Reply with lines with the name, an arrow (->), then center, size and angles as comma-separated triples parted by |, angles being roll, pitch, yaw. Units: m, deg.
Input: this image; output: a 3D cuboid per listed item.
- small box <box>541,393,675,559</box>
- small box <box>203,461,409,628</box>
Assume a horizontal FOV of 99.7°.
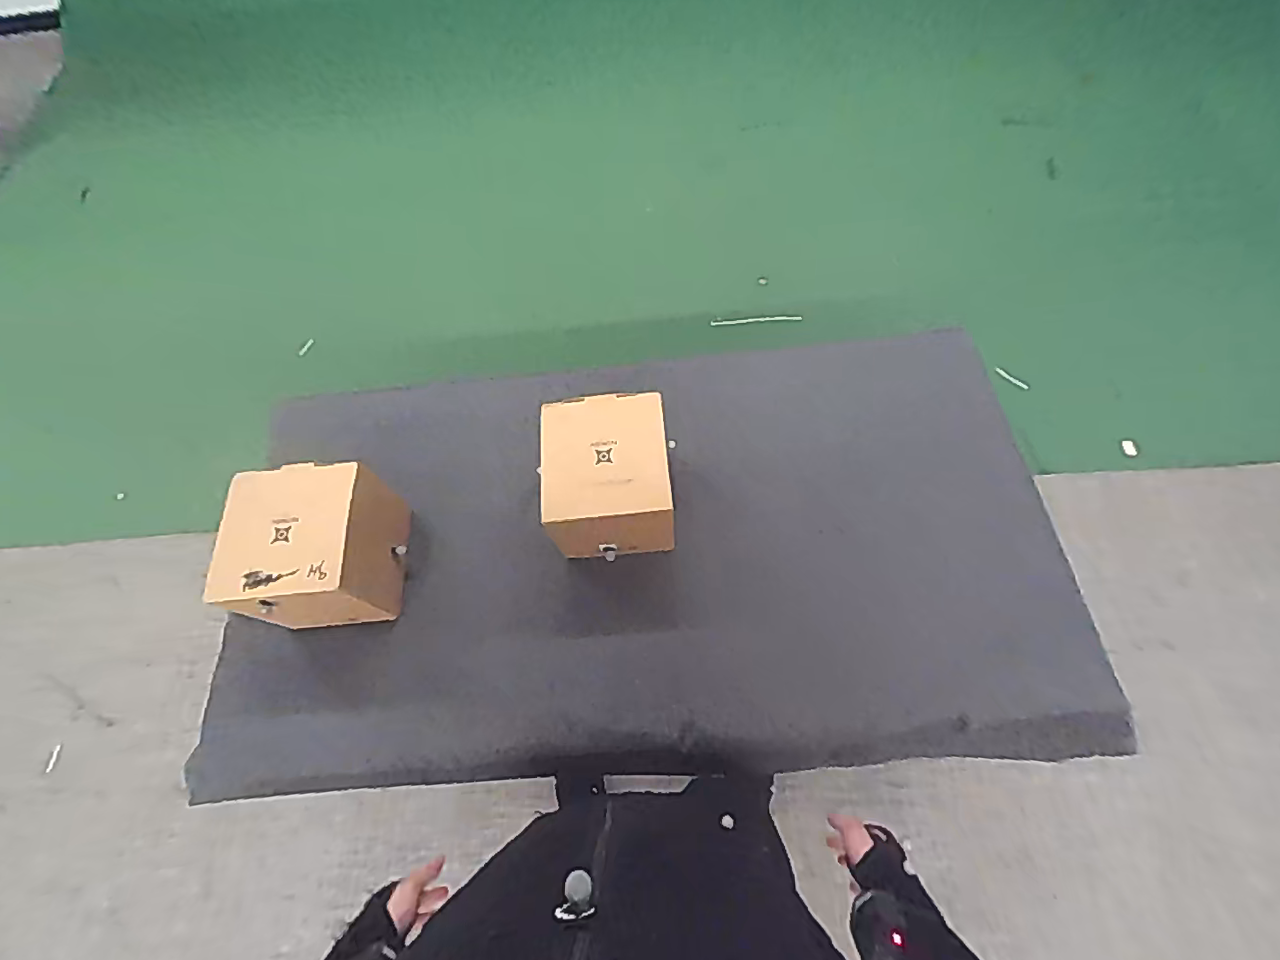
small box -> -0.042, 0.000, 0.769 | 0.168, 0.176, 0.179 | -7, 67, 2
small box -> -0.438, 0.094, 0.746 | 0.168, 0.176, 0.179 | -6, 64, 1
